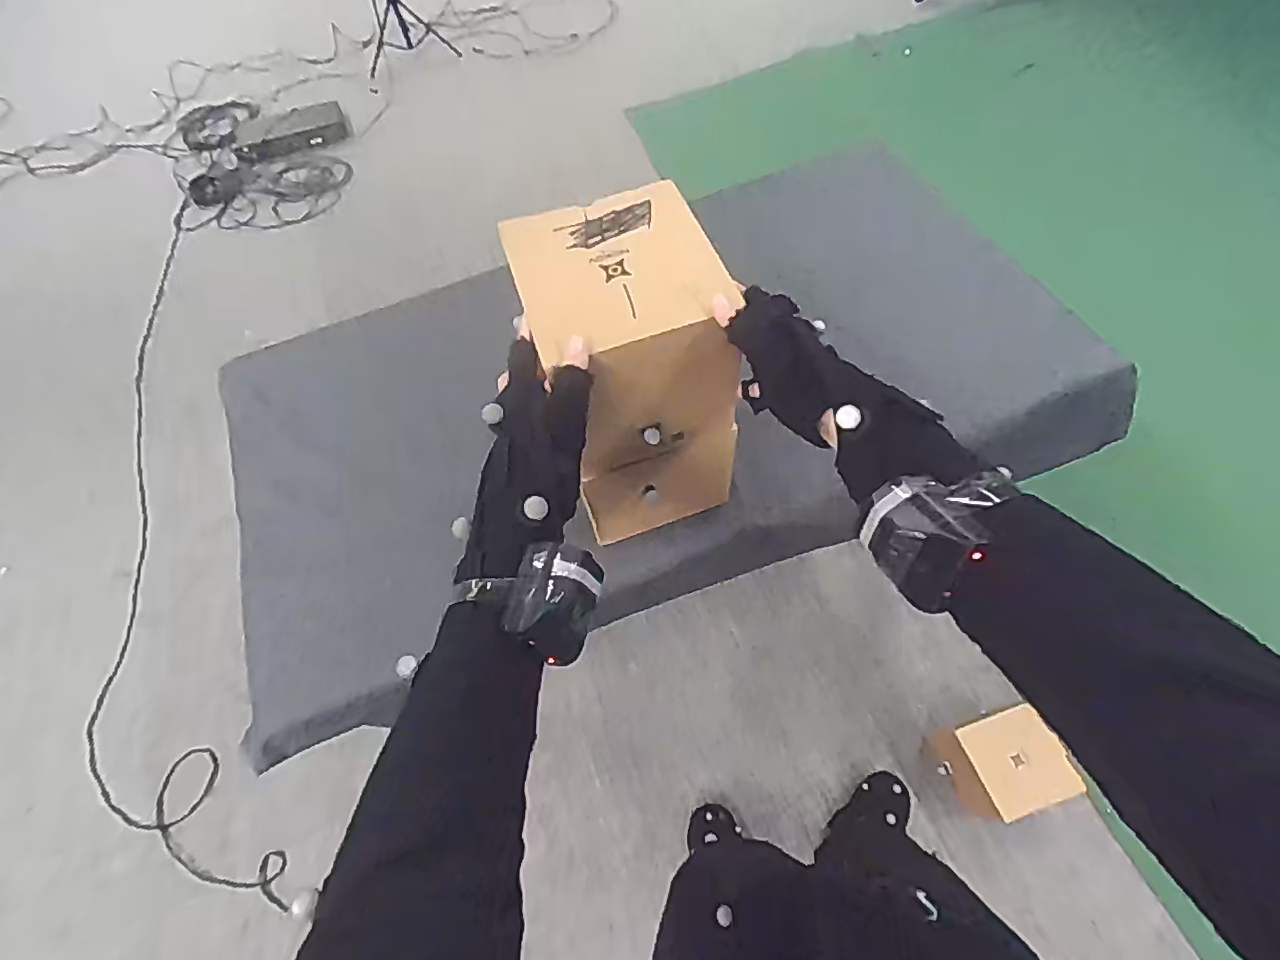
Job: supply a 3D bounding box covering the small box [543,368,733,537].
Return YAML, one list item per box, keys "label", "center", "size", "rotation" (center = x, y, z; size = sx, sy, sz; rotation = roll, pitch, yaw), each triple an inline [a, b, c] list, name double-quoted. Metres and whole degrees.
- label: "small box"
  center: [0.000, -0.051, 0.660]
  size: [0.179, 0.176, 0.168]
  rotation: [-18, 61, -5]

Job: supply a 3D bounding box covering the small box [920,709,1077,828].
- label: "small box"
  center: [0.717, 0.584, 1.106]
  size: [0.179, 0.176, 0.168]
  rotation: [-18, 62, -4]

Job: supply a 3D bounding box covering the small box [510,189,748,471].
- label: "small box"
  center: [-0.012, -0.137, 0.520]
  size: [0.168, 0.176, 0.179]
  rotation: [-17, 61, -5]
